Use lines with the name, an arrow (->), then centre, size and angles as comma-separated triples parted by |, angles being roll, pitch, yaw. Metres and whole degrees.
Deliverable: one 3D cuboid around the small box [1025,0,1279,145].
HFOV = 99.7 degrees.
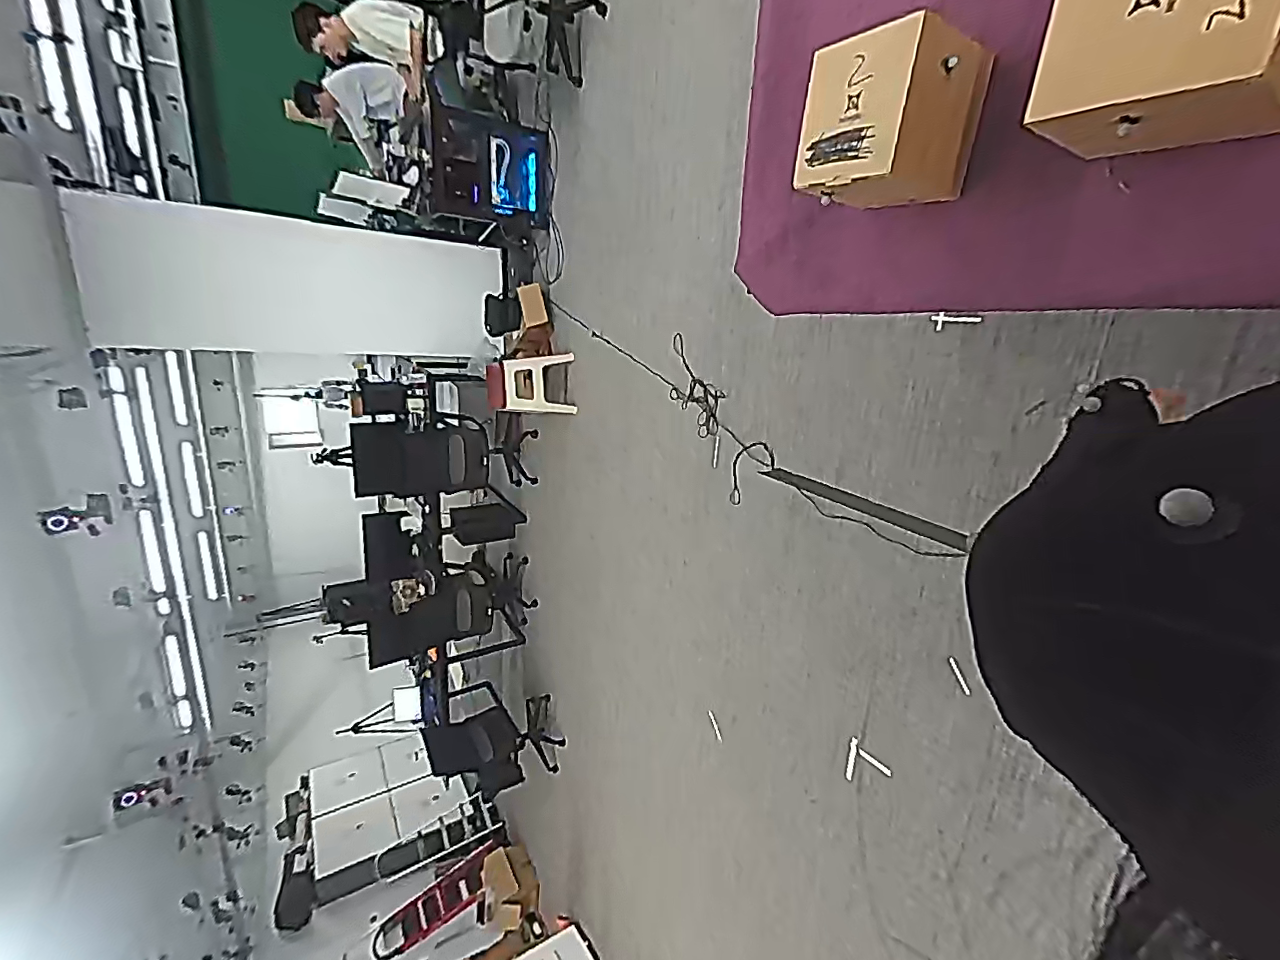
small box -> 0.512, -0.431, 0.500 | 0.179, 0.176, 0.168 | 30, 122, 52
